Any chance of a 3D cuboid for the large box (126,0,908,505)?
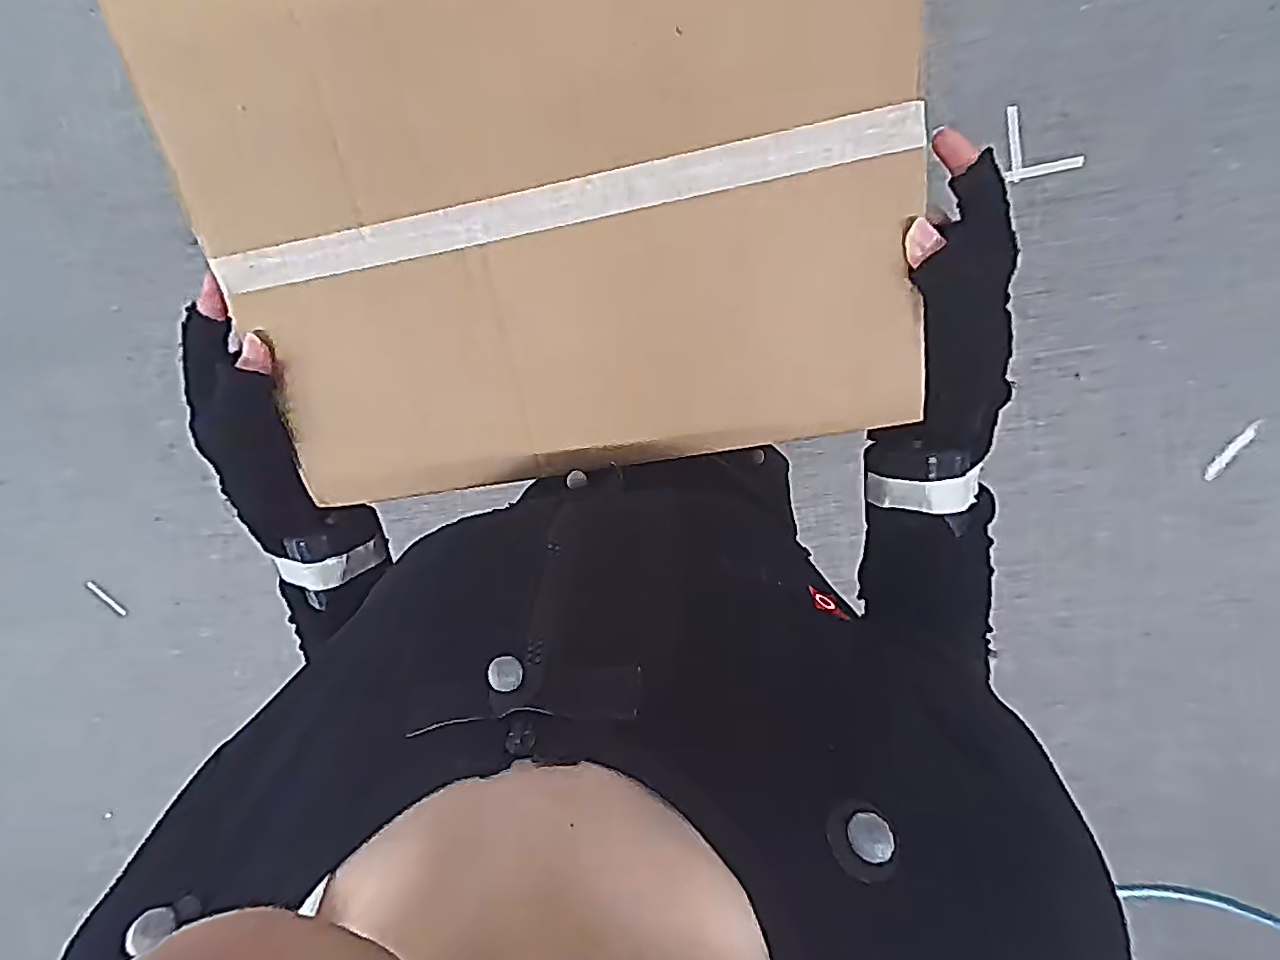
[{"bbox_3d":[-0.042,-0.206,0.449,0.408,0.320,0.320,-8,110,7],"label":"large box"}]
